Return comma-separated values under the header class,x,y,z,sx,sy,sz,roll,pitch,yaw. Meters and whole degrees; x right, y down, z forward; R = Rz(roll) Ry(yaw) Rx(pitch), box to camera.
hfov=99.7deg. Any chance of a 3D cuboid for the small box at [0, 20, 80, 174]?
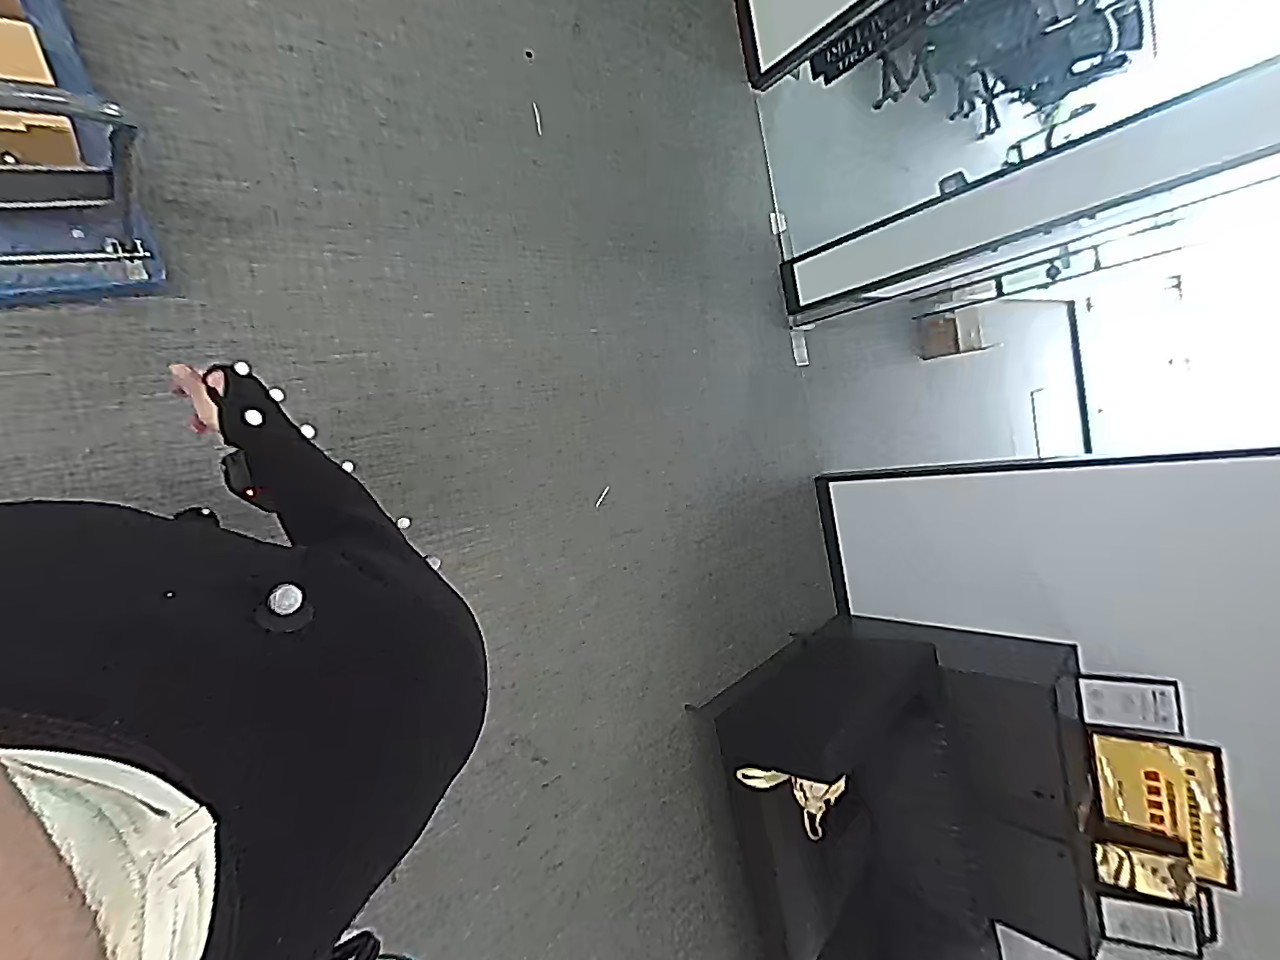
class,x,y,z,sx,sy,sz,roll,pitch,yaw
small box,-1.134,-0.671,0.948,0.168,0.176,0.179,-23,103,-40
